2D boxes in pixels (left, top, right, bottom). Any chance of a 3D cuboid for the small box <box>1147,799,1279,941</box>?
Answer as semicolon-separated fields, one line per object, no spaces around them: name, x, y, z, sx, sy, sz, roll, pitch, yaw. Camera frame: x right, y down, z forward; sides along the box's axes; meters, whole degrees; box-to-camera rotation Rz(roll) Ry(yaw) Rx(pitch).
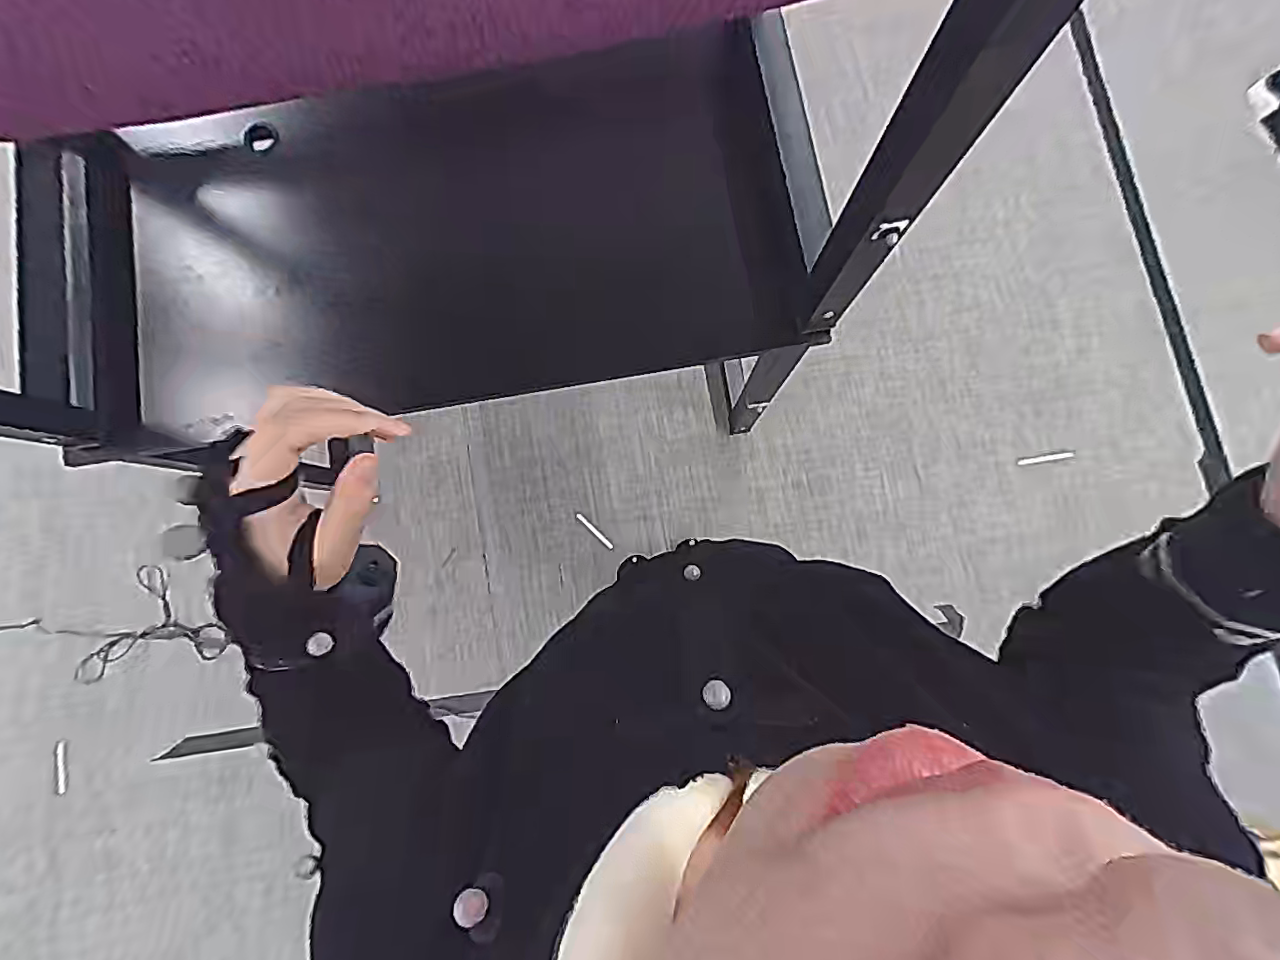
small box;1.242;0.815;1.145;0.168;0.176;0.179;-9;84;0
